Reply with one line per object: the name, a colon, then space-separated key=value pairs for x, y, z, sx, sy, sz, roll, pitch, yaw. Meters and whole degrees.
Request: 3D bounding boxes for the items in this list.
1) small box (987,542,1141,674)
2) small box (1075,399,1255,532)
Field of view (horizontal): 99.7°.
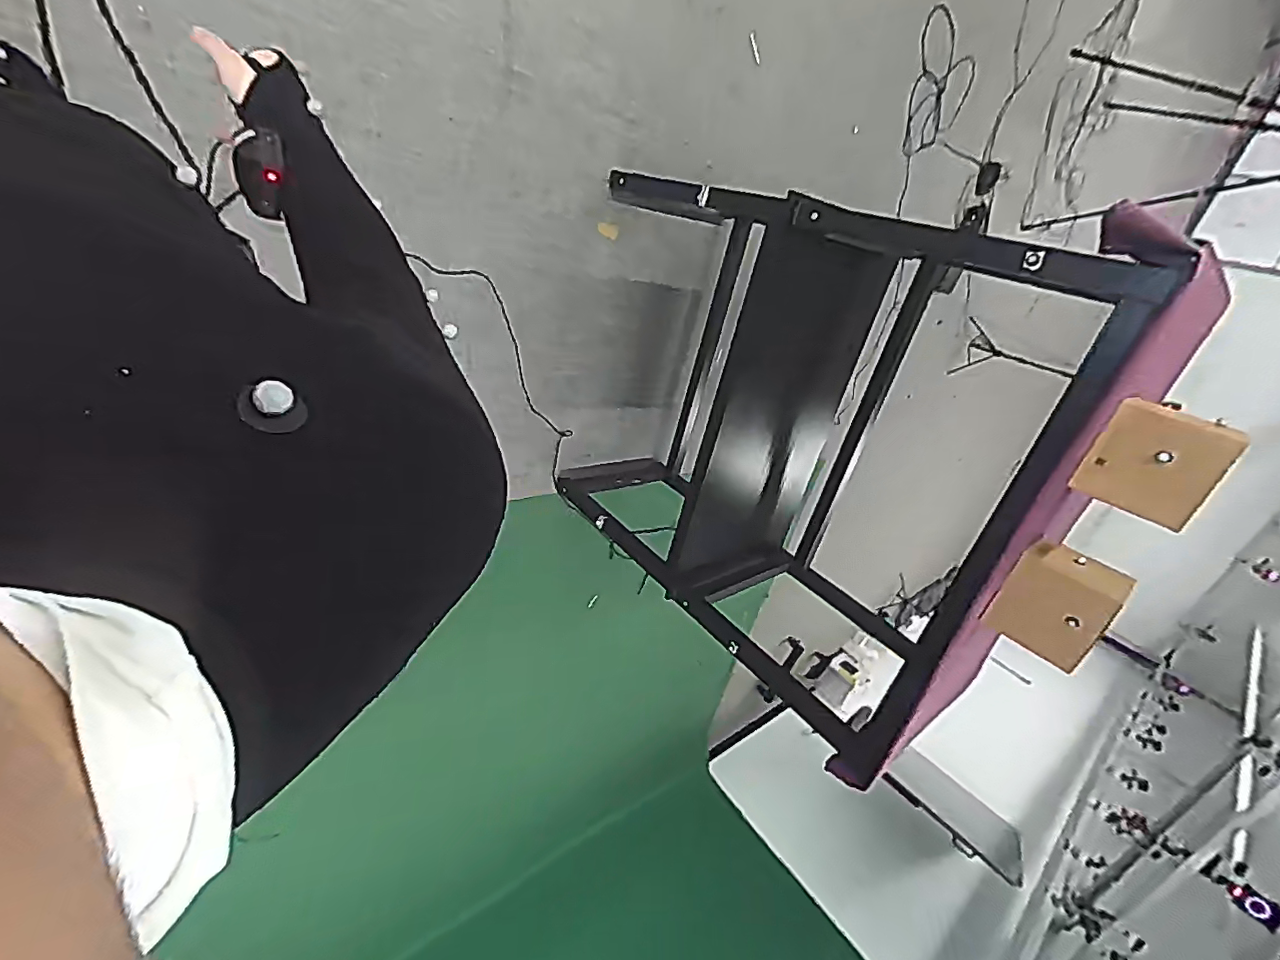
small box: x=0.826 y=0.238 z=1.064 sx=0.168 sy=0.176 sz=0.179 roll=-9 pitch=124 yaw=-40
small box: x=0.896 y=-0.034 z=0.935 sx=0.179 sy=0.176 sz=0.168 roll=-11 pitch=125 yaw=-41
